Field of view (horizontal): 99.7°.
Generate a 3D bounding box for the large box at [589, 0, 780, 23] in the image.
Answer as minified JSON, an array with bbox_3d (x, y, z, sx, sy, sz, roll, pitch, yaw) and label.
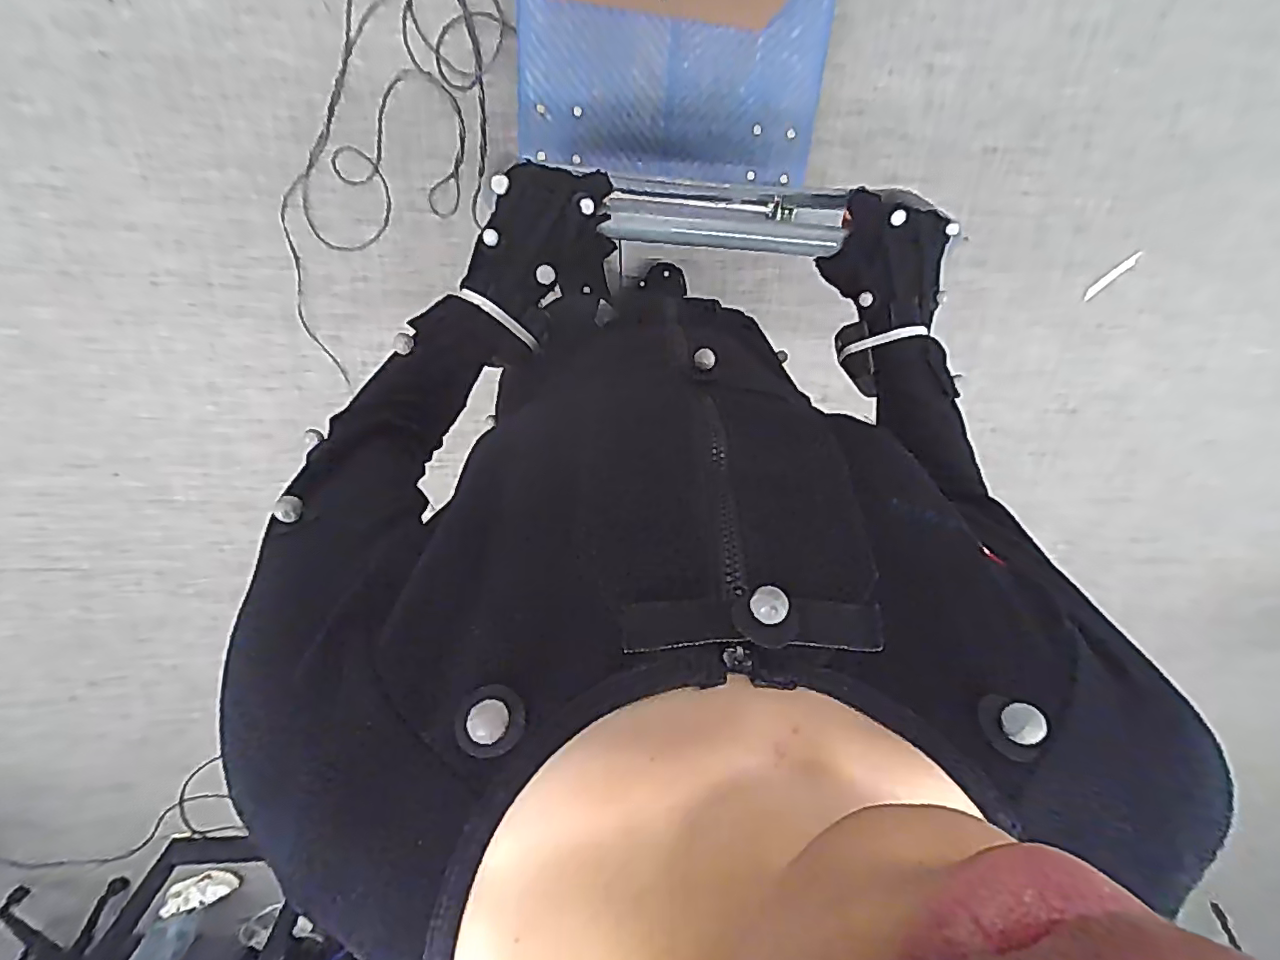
[{"bbox_3d":[0.052,-0.926,0.787,0.408,0.320,0.320,4,114,-5],"label":"large box"}]
